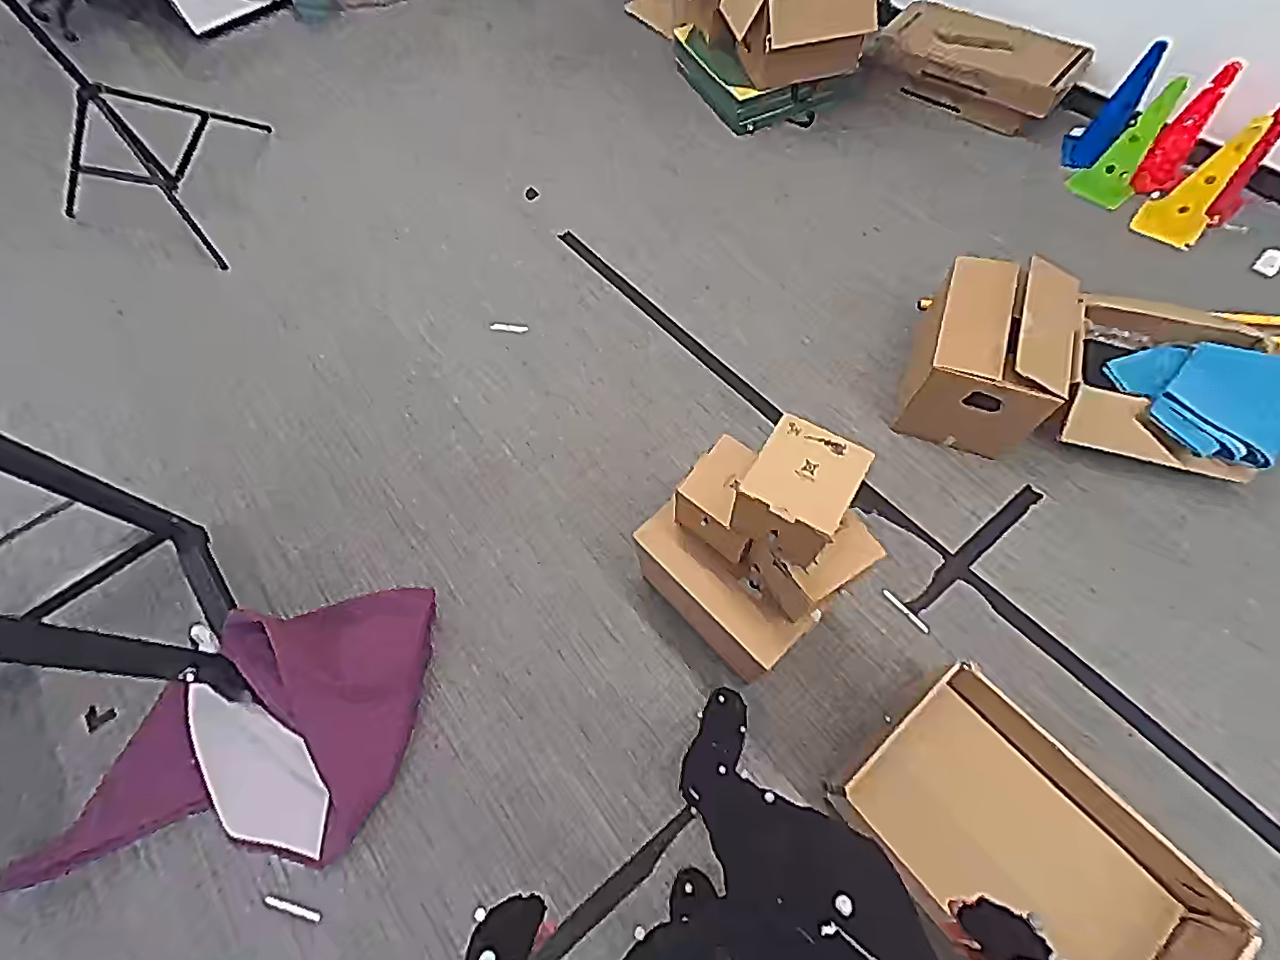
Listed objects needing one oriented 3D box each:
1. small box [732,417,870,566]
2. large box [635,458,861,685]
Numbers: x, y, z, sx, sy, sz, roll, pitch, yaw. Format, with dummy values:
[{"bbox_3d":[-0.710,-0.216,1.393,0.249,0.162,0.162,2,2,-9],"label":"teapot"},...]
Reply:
[{"bbox_3d":[0.275,0.028,0.960,0.168,0.176,0.179,29,70,17],"label":"small box"},{"bbox_3d":[0.237,0.228,1.319,0.320,0.320,0.408,-42,69,-15],"label":"large box"}]
